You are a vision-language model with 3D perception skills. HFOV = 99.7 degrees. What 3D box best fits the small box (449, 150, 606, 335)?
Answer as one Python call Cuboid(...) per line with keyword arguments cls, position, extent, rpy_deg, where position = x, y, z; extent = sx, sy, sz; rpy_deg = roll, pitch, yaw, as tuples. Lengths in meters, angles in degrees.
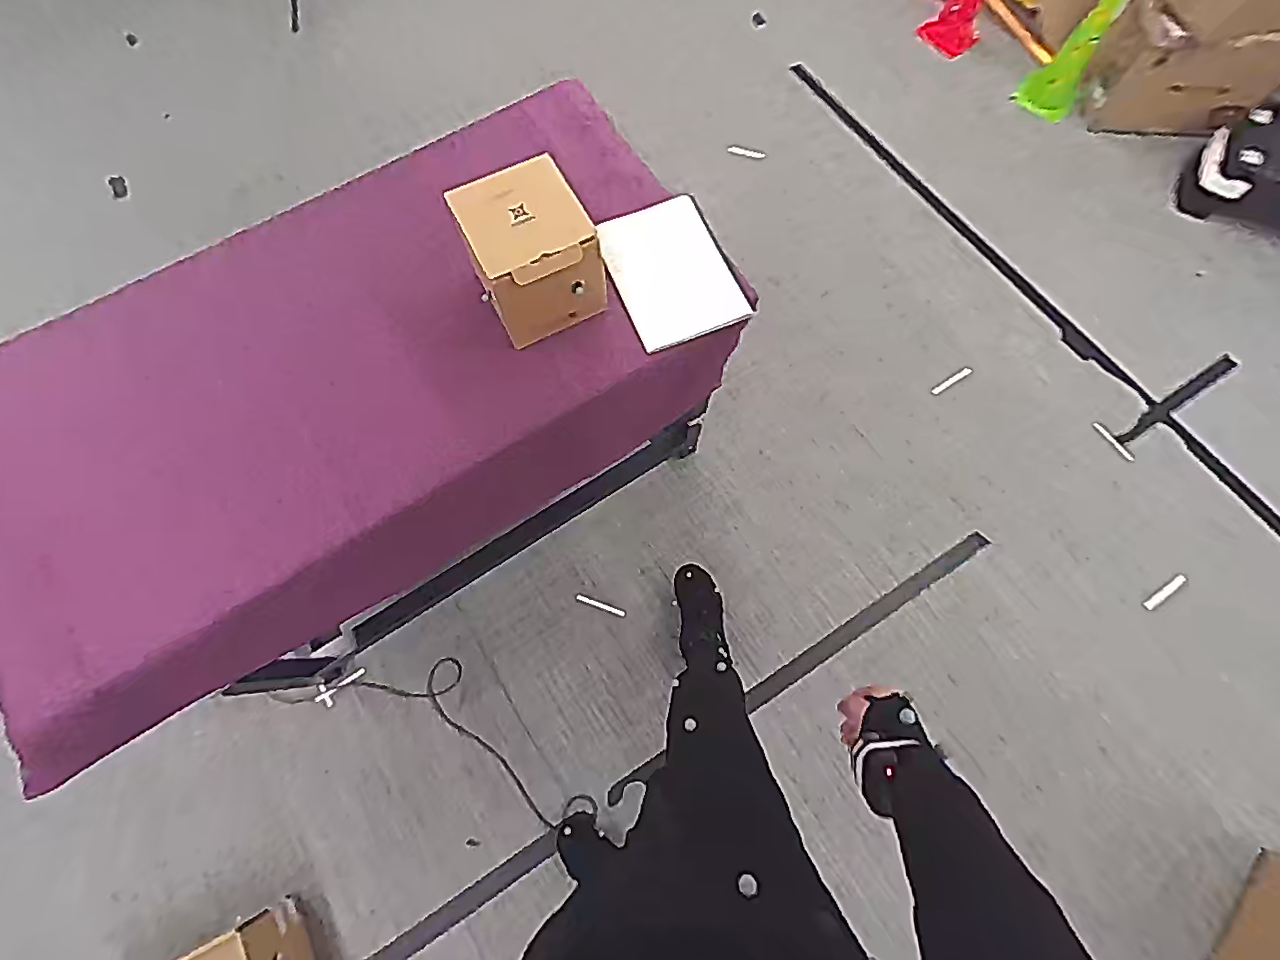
Cuboid(cls="small box", position=(-0.159, -0.347, 0.825), extent=(0.168, 0.176, 0.179), rpy_deg=(-26, 74, -8))
